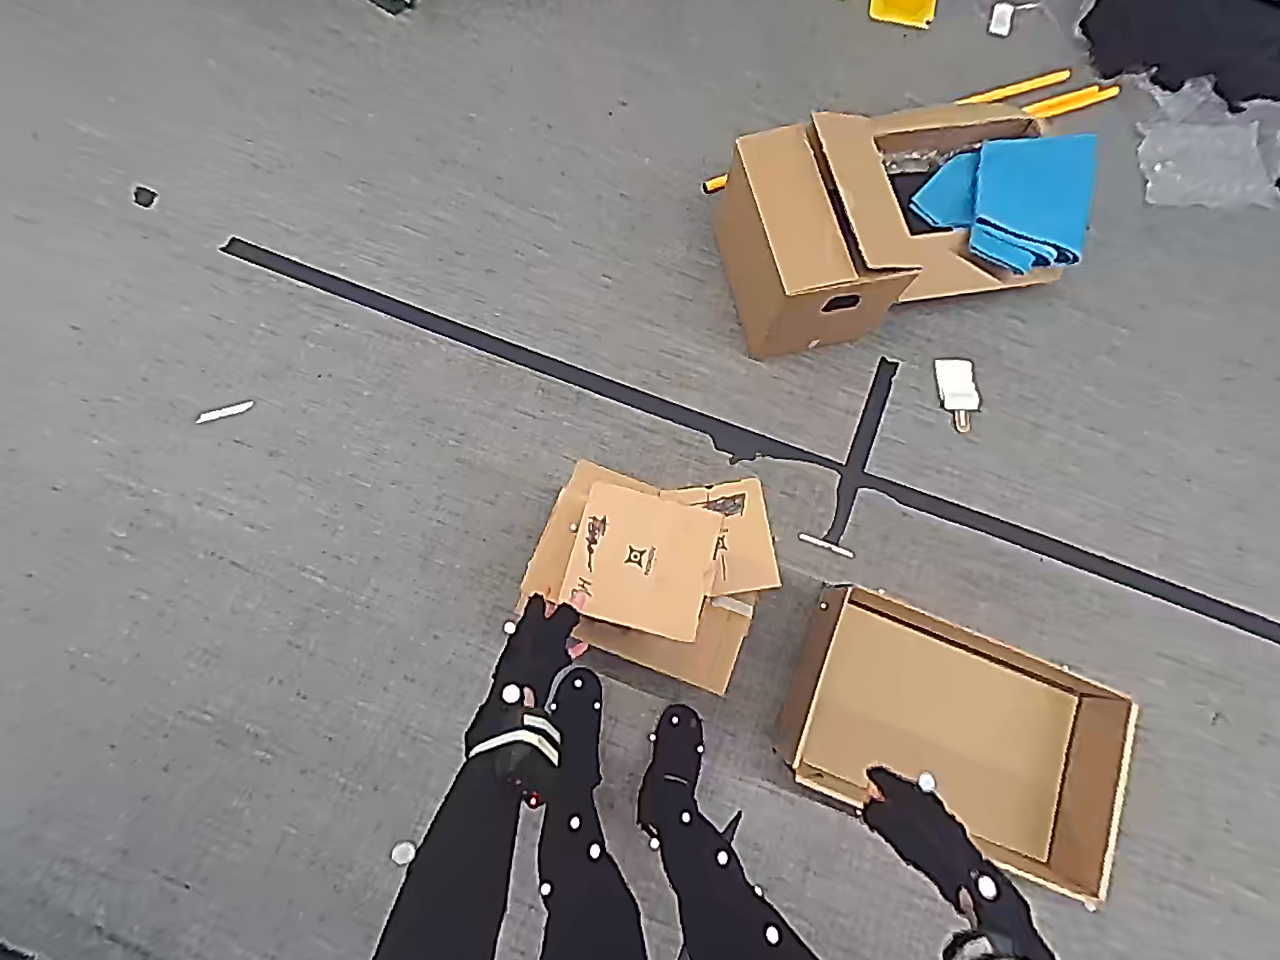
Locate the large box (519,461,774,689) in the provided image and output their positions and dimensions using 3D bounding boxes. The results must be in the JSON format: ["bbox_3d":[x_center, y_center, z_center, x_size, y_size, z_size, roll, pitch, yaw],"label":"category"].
[{"bbox_3d":[0.010,0.198,1.134,0.408,0.320,0.320,20,78,2],"label":"large box"}]

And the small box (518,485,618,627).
[{"bbox_3d":[-0.082,0.131,0.899,0.168,0.176,0.179,20,76,1],"label":"small box"}]

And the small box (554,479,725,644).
[{"bbox_3d":[0.000,0.113,0.737,0.179,0.176,0.168,15,77,2],"label":"small box"}]
